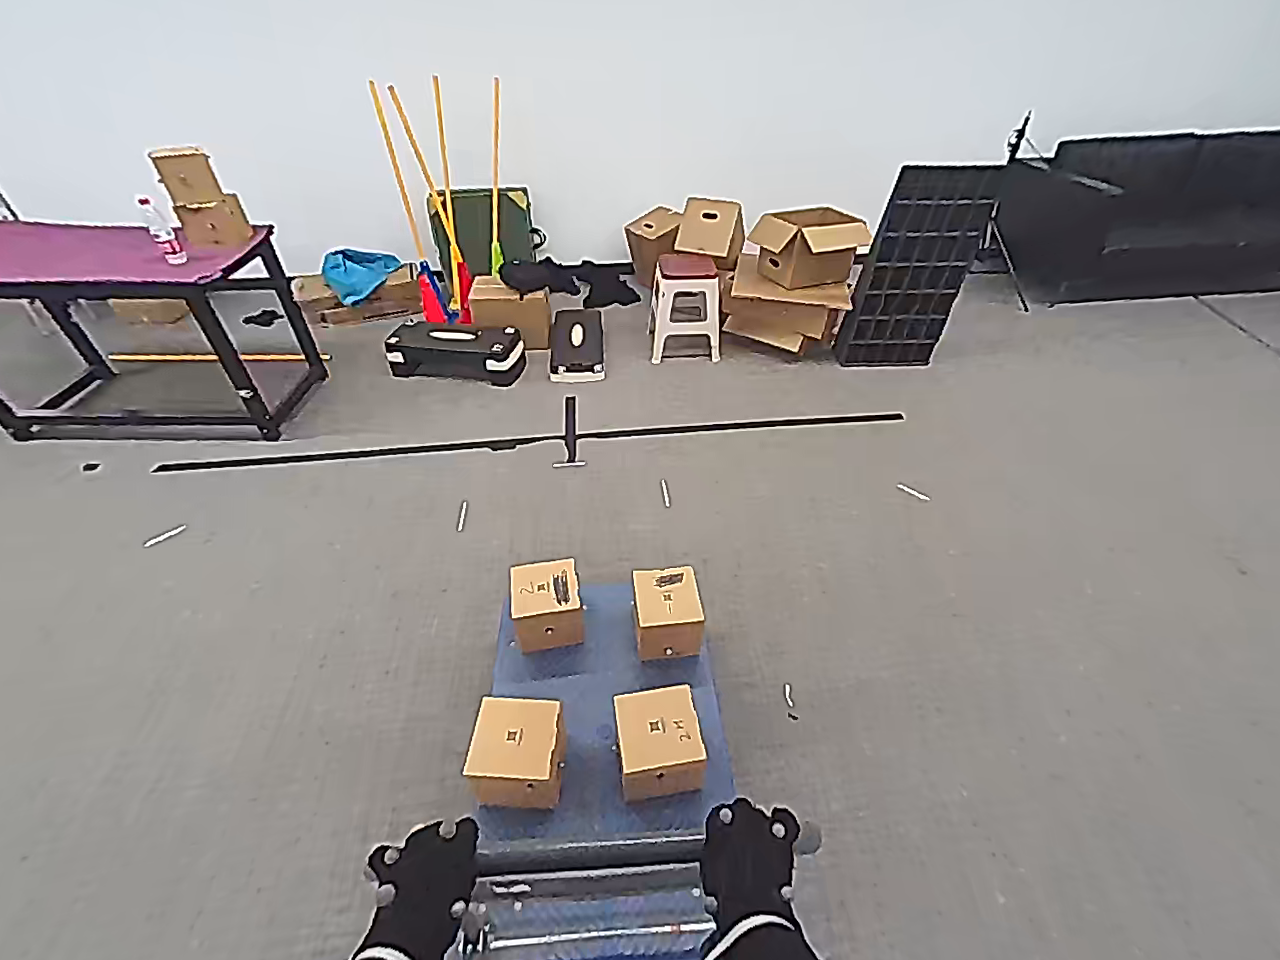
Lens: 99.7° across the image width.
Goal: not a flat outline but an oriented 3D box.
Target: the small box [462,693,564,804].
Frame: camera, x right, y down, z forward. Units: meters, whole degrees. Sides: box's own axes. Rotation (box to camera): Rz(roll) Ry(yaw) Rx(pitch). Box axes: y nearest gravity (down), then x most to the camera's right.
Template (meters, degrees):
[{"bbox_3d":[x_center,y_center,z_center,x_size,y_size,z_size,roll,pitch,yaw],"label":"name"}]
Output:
[{"bbox_3d":[-0.268,0.591,1.187,0.179,0.176,0.168,3,42,1],"label":"small box"}]

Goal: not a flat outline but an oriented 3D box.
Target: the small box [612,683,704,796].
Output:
[{"bbox_3d":[0.035,0.579,1.203,0.179,0.176,0.168,-6,43,-7],"label":"small box"}]

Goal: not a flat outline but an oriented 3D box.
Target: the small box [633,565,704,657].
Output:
[{"bbox_3d":[0.069,0.351,1.454,0.168,0.176,0.179,-4,44,-5],"label":"small box"}]
